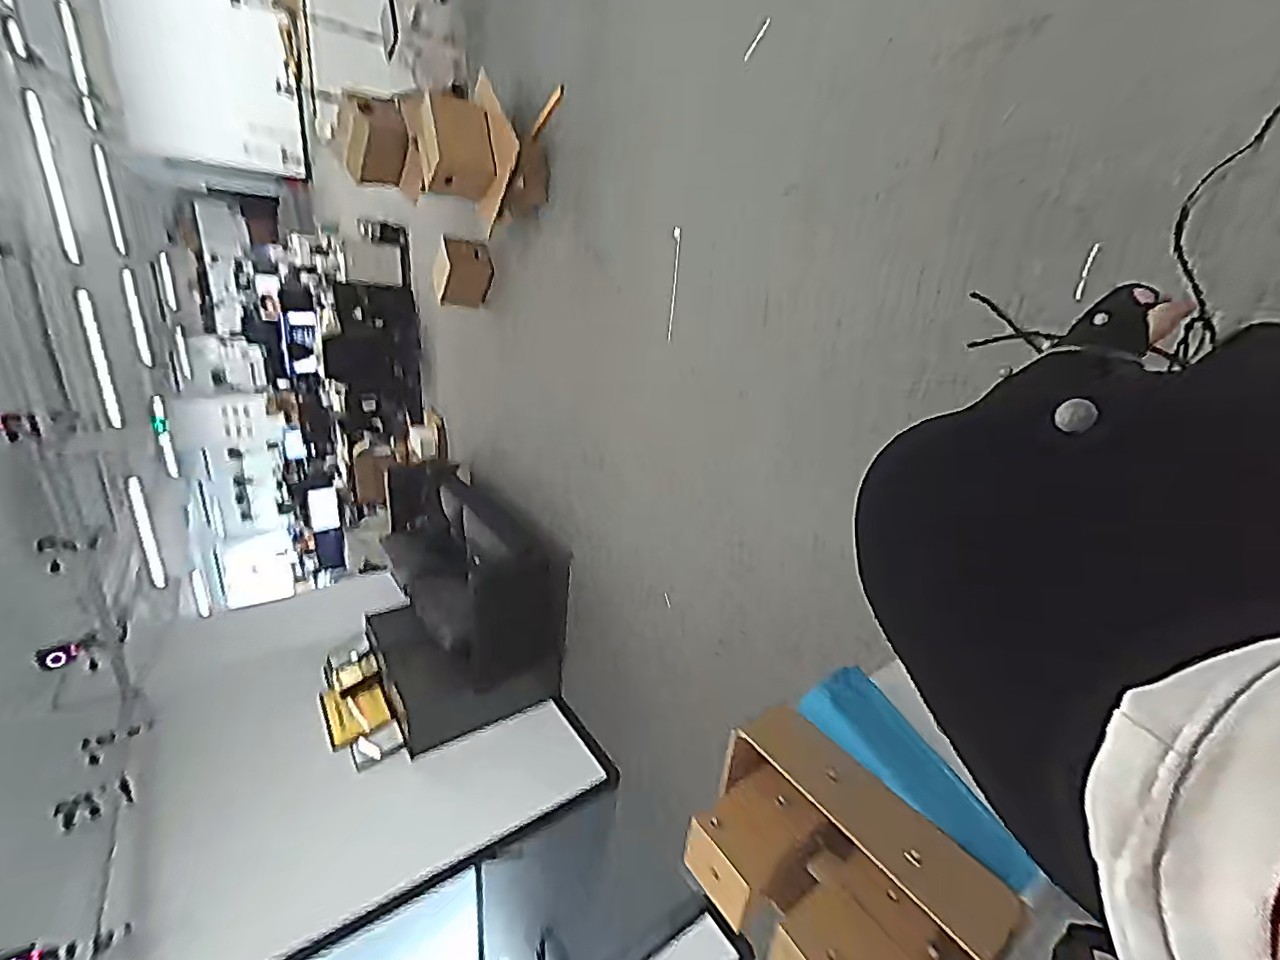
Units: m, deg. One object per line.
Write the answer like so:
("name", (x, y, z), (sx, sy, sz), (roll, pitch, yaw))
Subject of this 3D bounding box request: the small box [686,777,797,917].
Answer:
("small box", (0.234, 0.834, 1.248), (0.179, 0.176, 0.168), (33, 125, 45))

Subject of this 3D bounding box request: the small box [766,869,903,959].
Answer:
("small box", (0.380, 0.924, 1.060), (0.179, 0.176, 0.168), (33, 125, 48))
